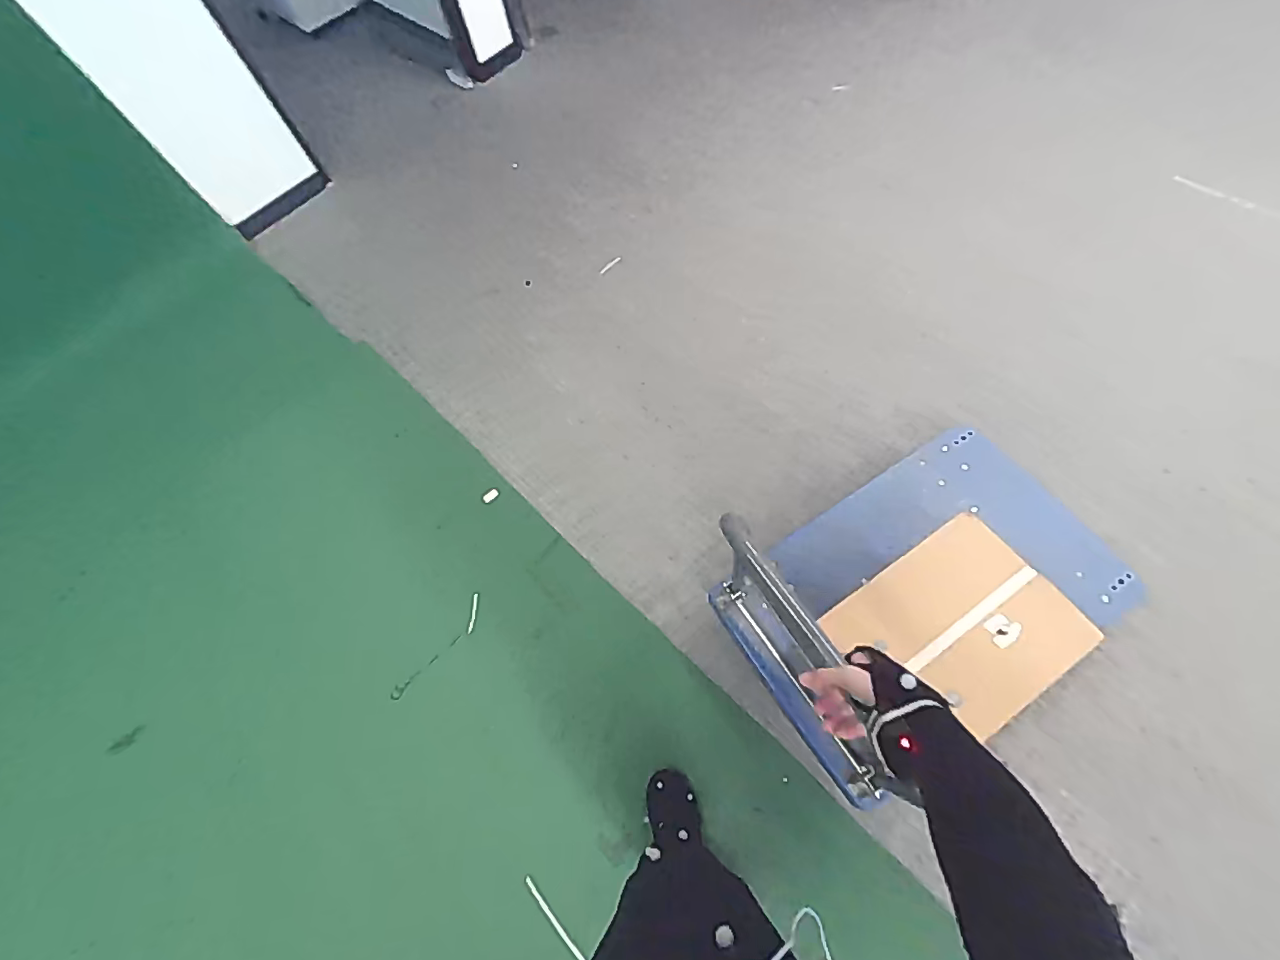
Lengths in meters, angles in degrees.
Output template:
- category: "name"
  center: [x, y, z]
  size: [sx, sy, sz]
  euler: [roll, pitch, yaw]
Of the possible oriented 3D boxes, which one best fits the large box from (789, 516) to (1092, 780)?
- category: "large box"
  center: [0.580, 0.353, 1.127]
  size: [0.408, 0.320, 0.320]
  euler: [-33, 66, -10]
